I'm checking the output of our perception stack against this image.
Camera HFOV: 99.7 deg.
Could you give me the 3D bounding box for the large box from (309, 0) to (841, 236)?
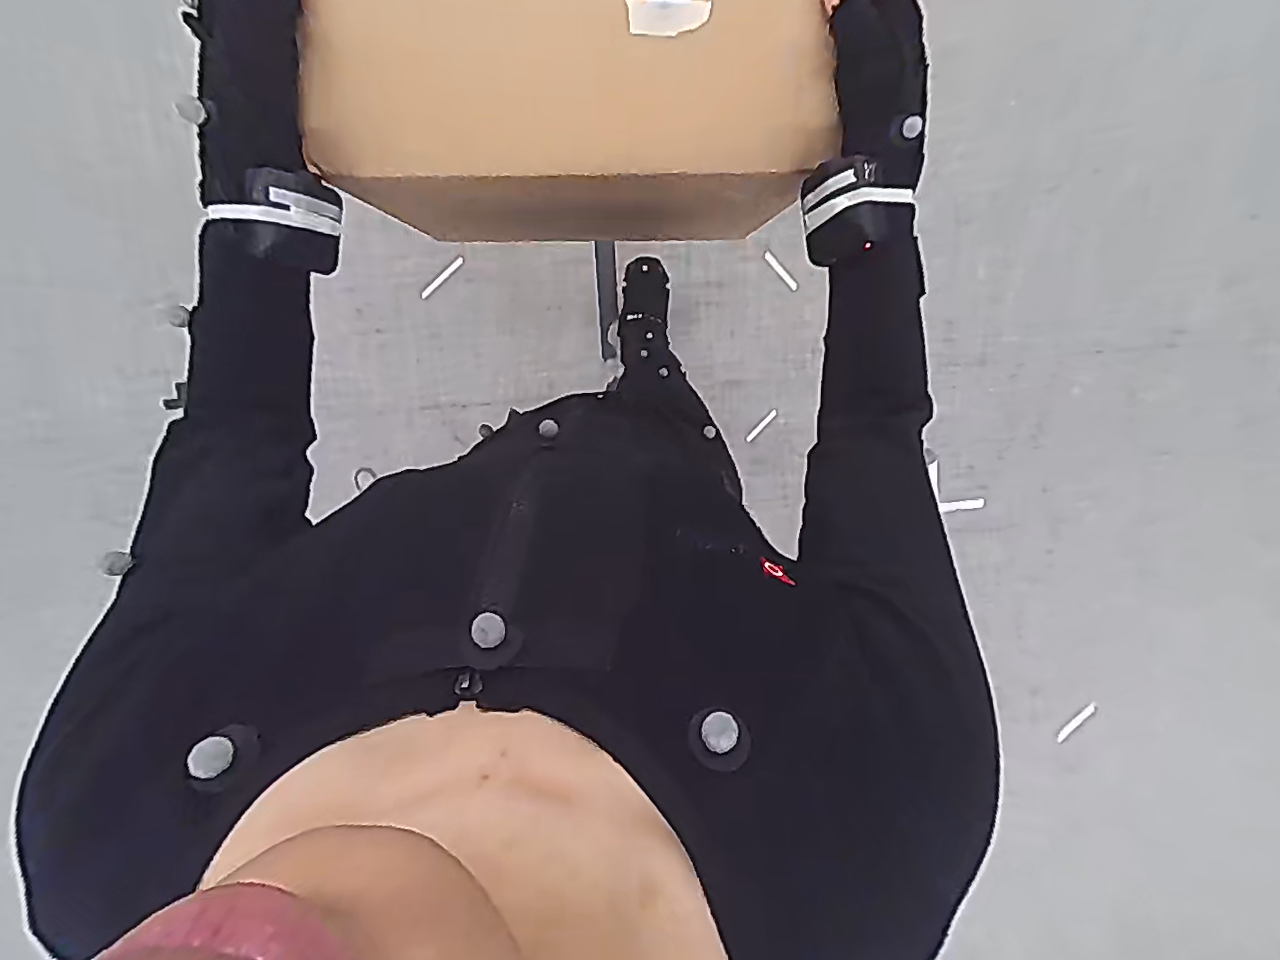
[{"bbox_3d":[-0.056,-0.438,0.533,0.408,0.320,0.320,-3,106,-3],"label":"large box"}]
